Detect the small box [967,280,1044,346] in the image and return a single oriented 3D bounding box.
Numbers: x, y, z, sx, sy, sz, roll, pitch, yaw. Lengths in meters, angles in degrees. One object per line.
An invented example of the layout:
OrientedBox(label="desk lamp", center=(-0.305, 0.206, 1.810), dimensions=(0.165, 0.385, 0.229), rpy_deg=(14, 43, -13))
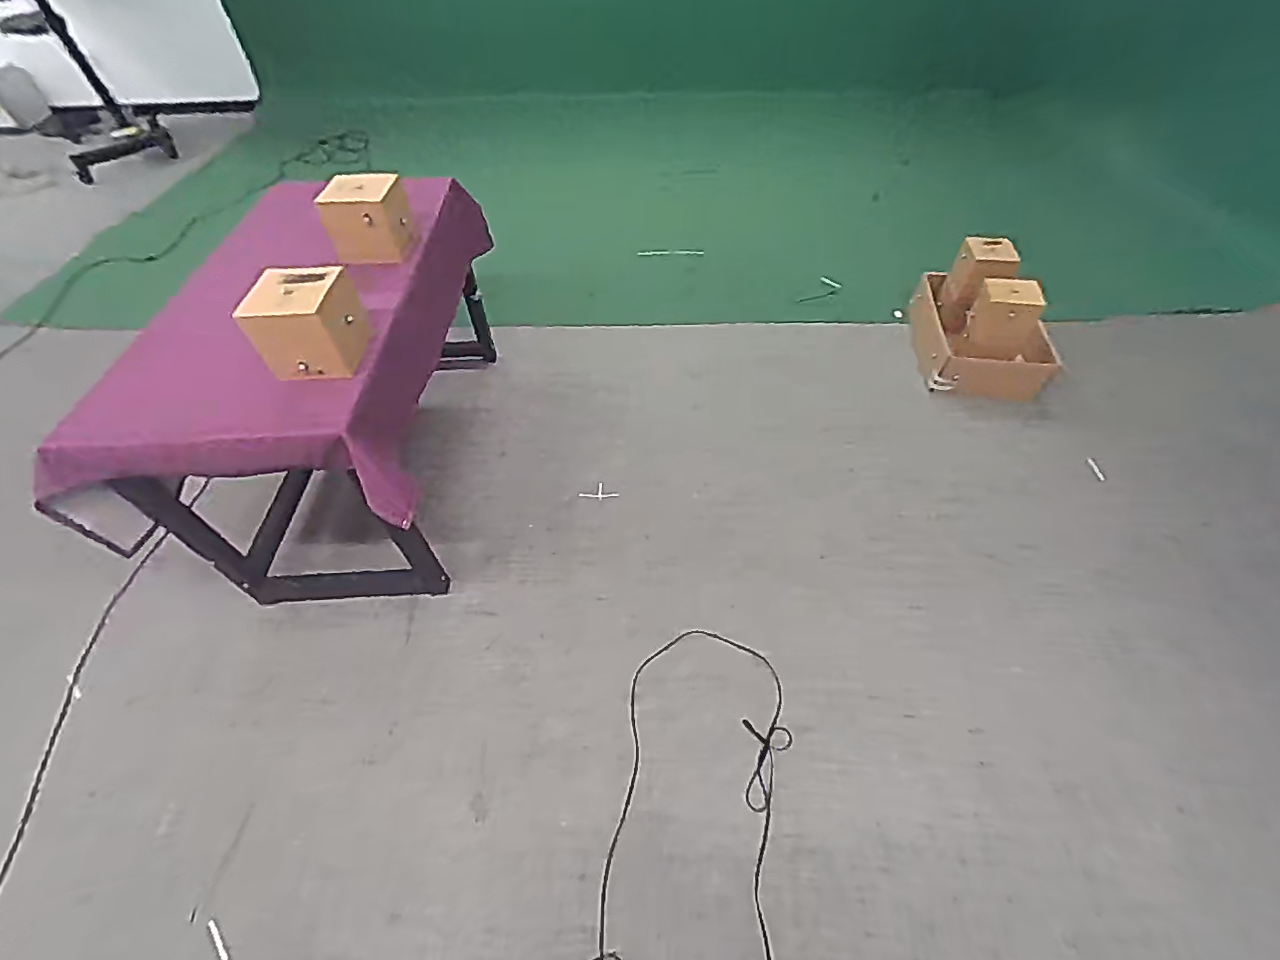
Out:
OrientedBox(label="small box", center=(1.353, -0.618, 2.012), dimensions=(0.179, 0.176, 0.168), rpy_deg=(9, 51, 11))

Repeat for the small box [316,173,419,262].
OrientedBox(label="small box", center=(-0.728, -0.710, 1.471), dimensions=(0.179, 0.176, 0.168), rpy_deg=(0, 51, 2))

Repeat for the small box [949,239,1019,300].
OrientedBox(label="small box", center=(1.388, -0.853, 2.197), dimensions=(0.168, 0.176, 0.179), rpy_deg=(6, 52, 6))
